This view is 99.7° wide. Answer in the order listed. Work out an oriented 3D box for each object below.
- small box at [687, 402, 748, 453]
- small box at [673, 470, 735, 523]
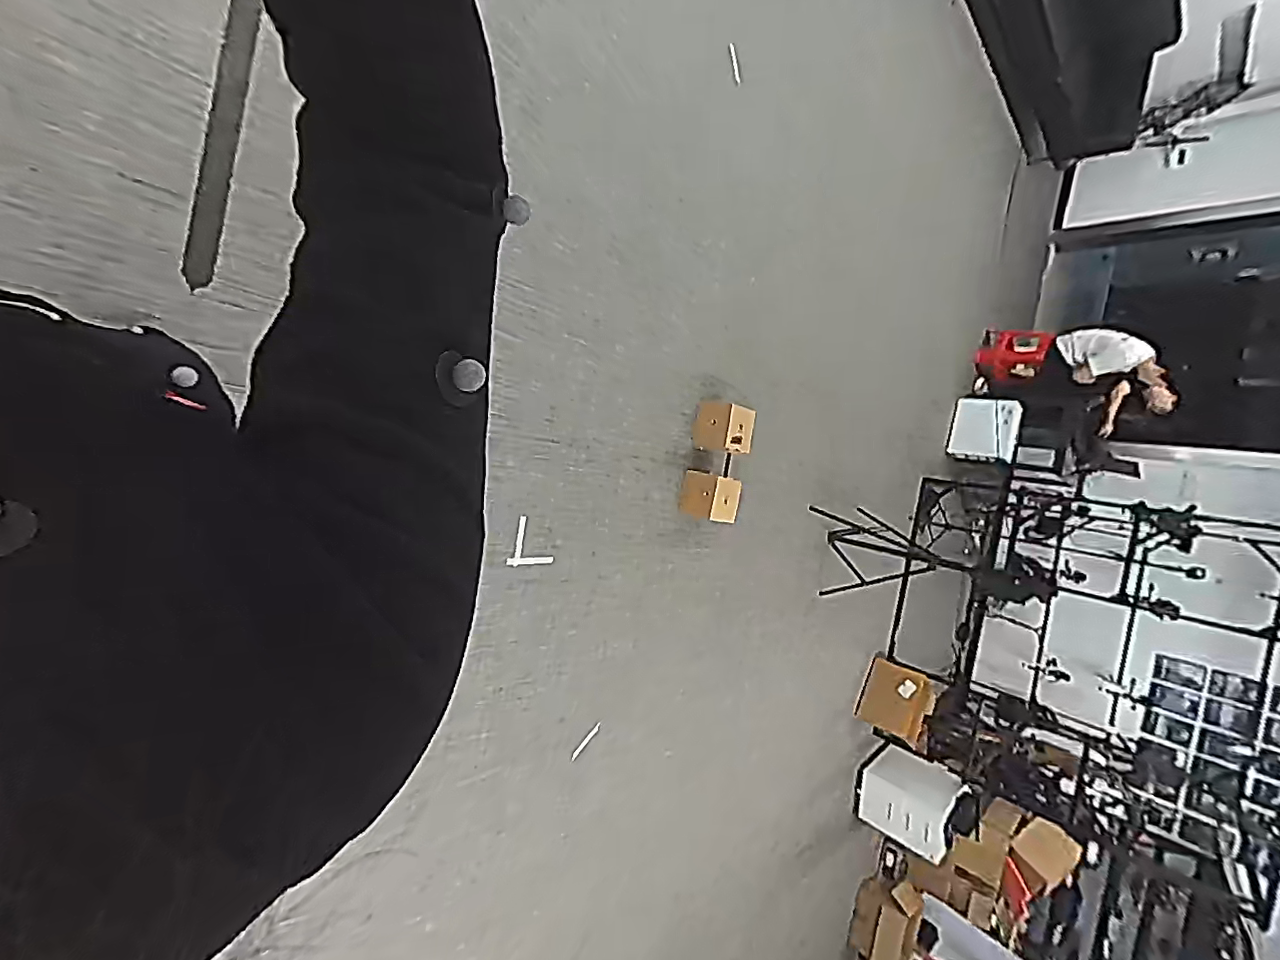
[{"bbox_3d":[0.308,-0.213,2.183,0.168,0.176,0.179,10,90,-45],"label":"small box"},{"bbox_3d":[0.254,0.066,2.190,0.168,0.176,0.179,11,90,-45],"label":"small box"}]
